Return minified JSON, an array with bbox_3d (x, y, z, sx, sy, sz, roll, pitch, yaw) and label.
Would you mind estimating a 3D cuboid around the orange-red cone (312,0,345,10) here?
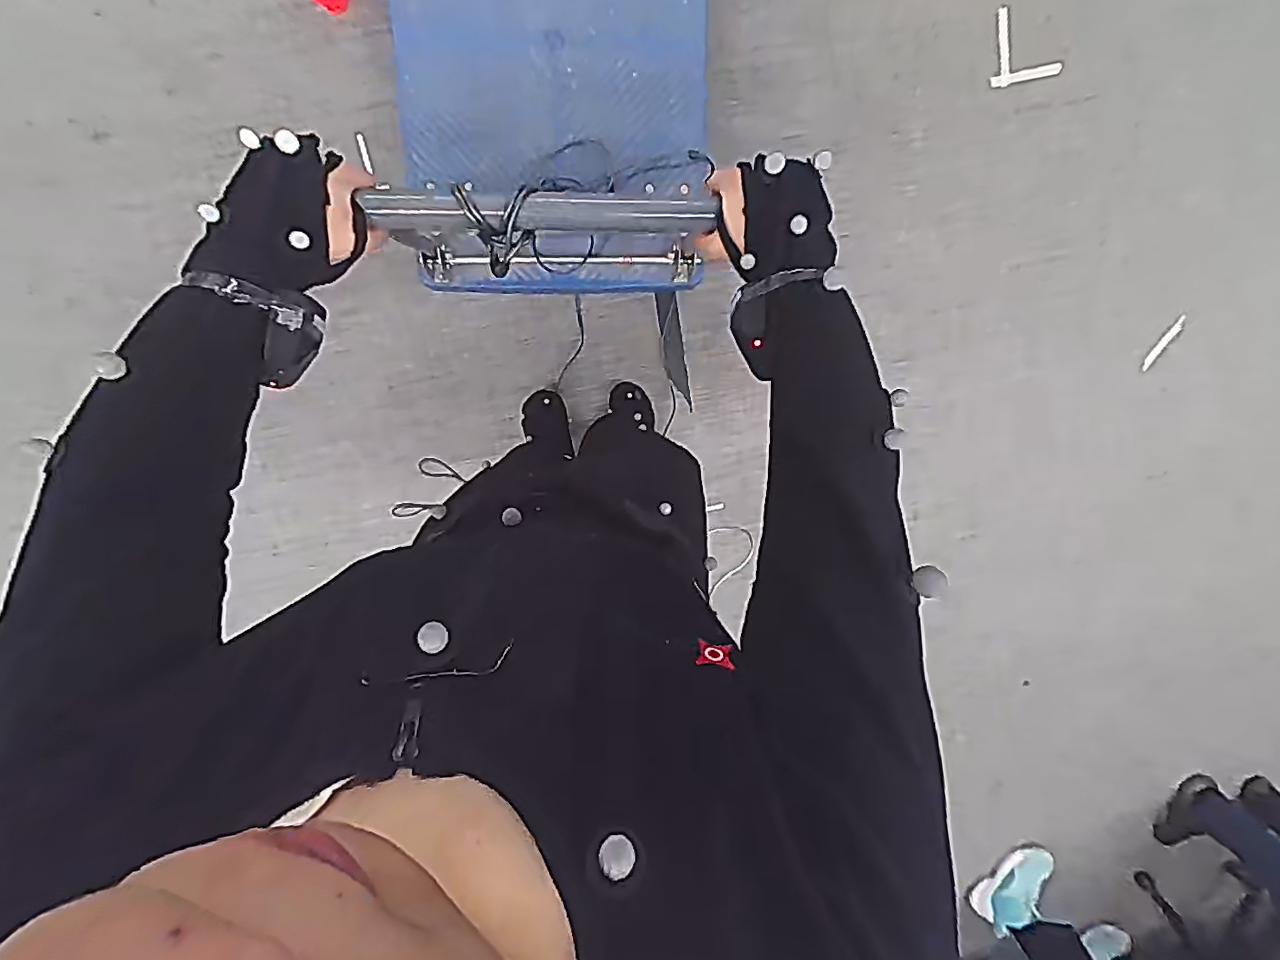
[{"bbox_3d":[-0.614,-1.026,0.888,0.198,0.360,0.199,34,96,-13],"label":"orange-red cone"}]
